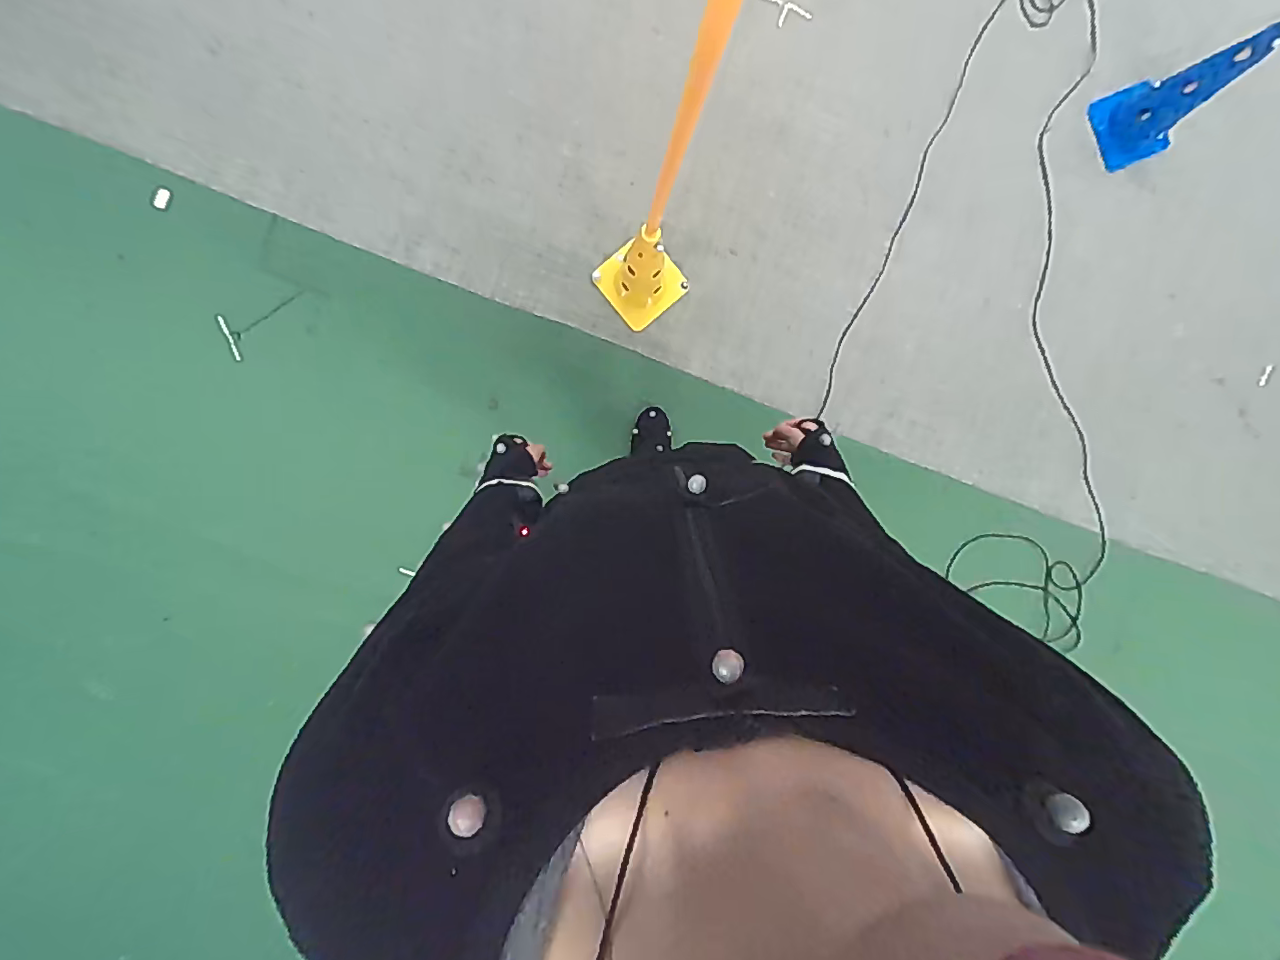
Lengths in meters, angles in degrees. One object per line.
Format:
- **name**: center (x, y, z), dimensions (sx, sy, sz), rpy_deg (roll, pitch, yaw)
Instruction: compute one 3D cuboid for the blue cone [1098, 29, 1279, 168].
- **blue cone**: center (1.381, -0.975, 1.329), dimensions (0.193, 0.380, 0.192), rpy_deg (-25, 94, -4)
